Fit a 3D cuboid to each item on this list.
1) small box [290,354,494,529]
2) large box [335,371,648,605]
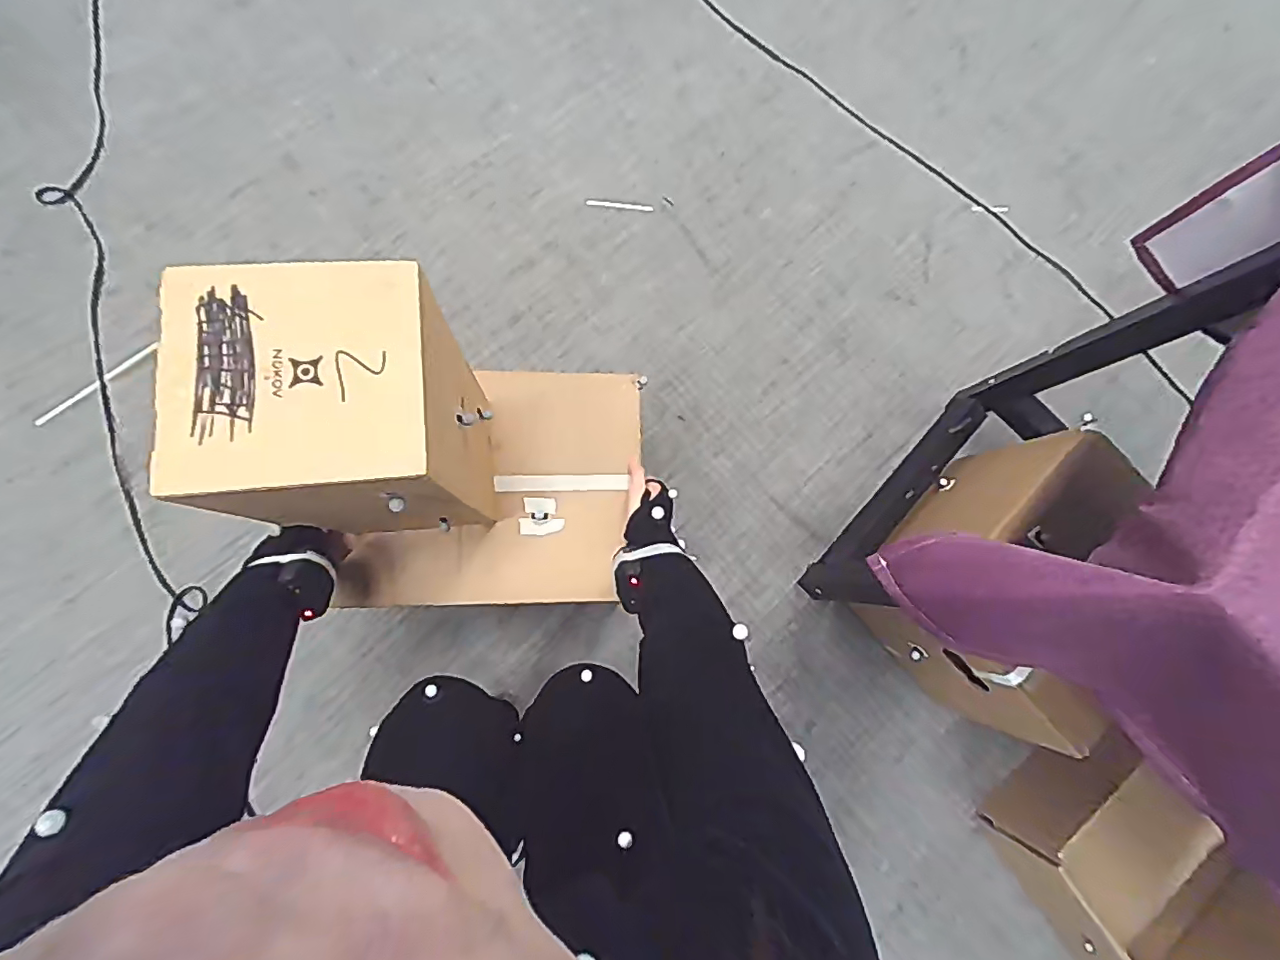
[{"bbox_3d":[-0.267,-0.035,0.622,0.179,0.176,0.168,-4,80,-6],"label":"small box"},{"bbox_3d":[-0.209,0.025,0.867,0.408,0.320,0.320,0,81,-7],"label":"large box"}]
